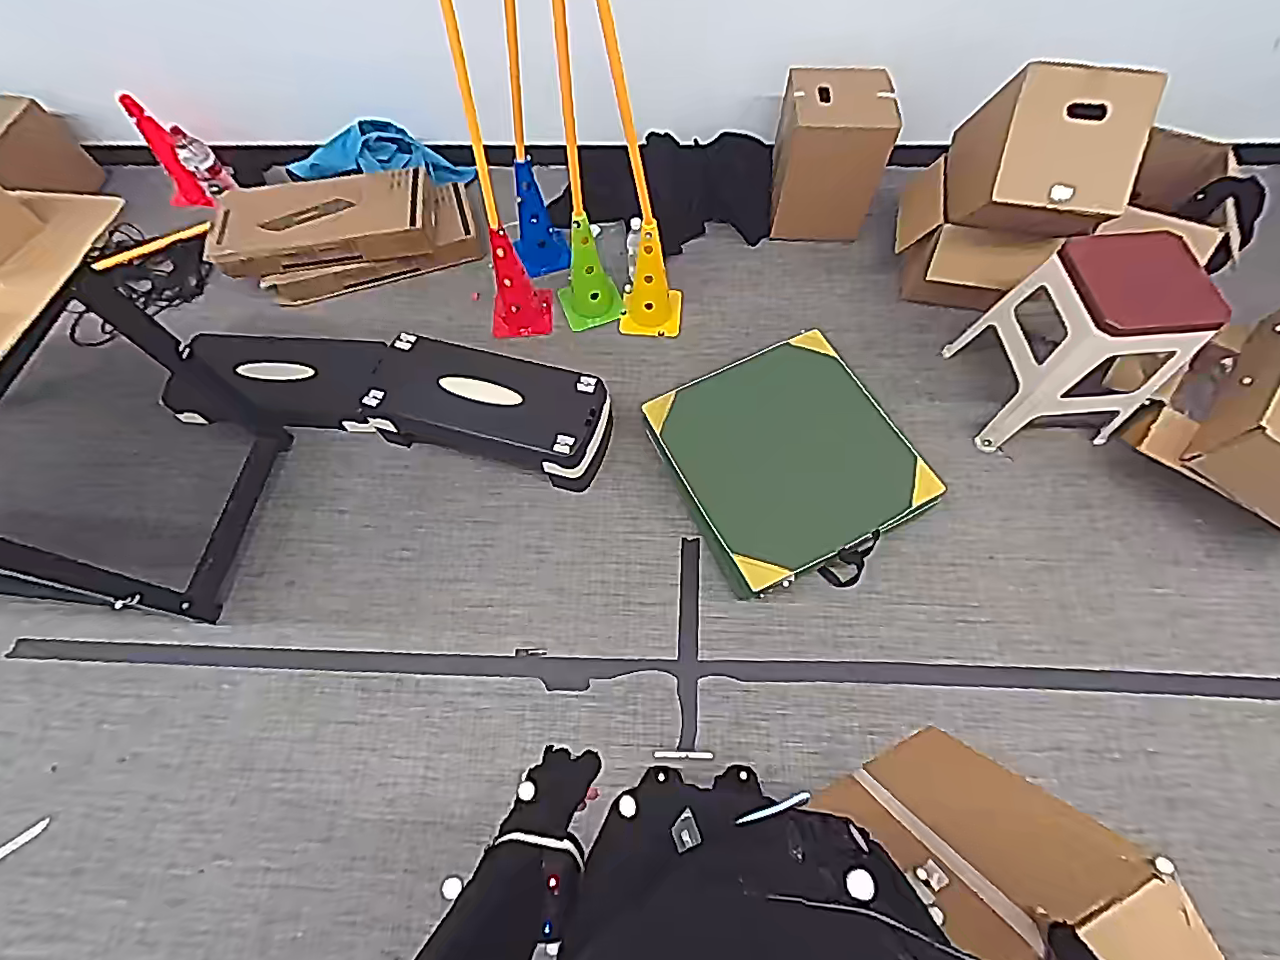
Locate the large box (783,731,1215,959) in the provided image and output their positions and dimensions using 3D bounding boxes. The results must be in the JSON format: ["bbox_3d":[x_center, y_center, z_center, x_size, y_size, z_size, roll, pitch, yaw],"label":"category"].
[{"bbox_3d":[0.455,0.616,0.719,0.320,0.408,0.320,-29,87,-6],"label":"large box"}]
